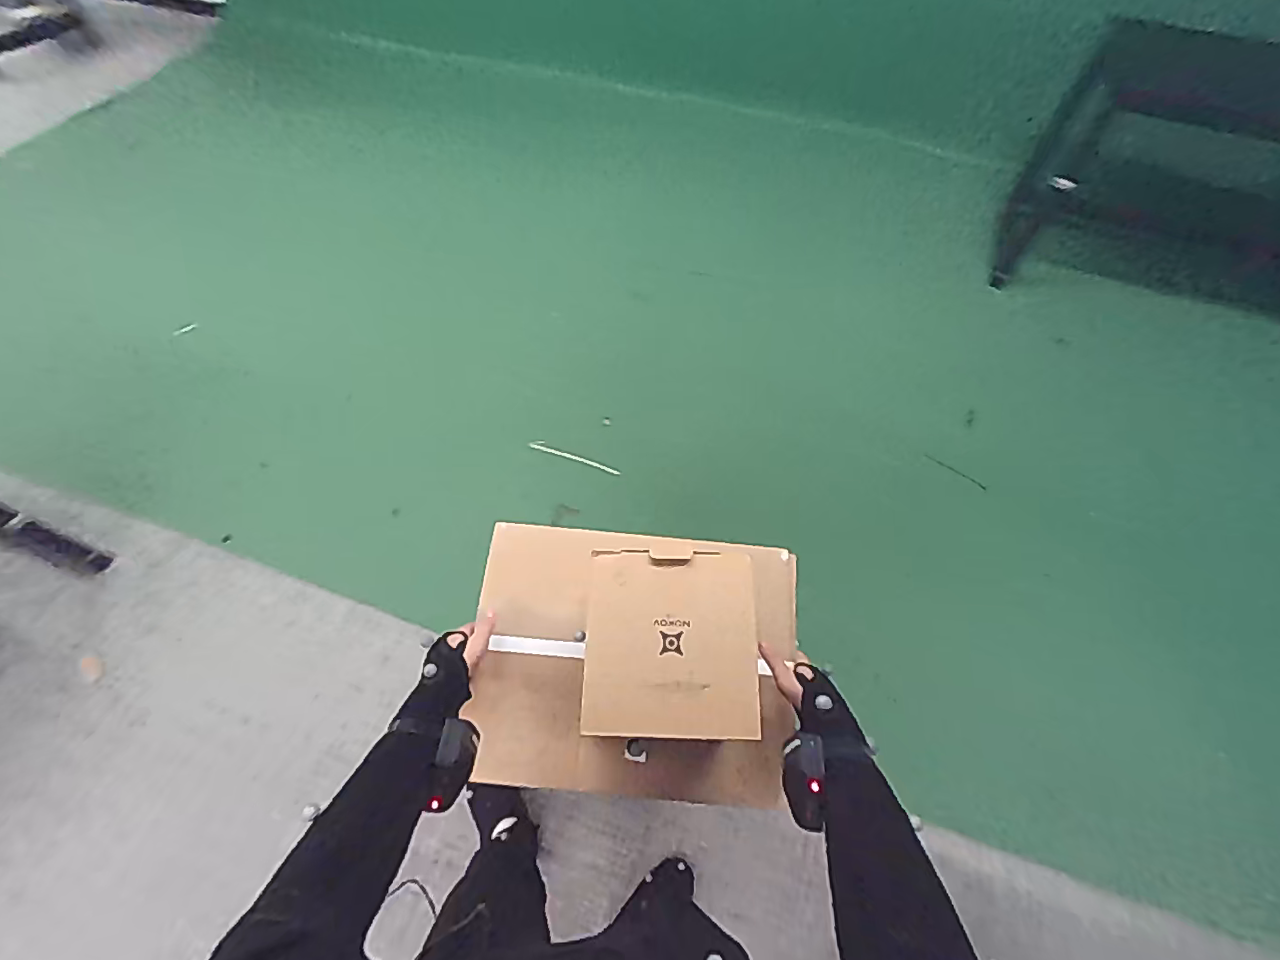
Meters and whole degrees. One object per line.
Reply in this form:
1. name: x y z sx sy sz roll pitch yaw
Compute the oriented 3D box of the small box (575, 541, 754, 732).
1. small box: 0.022 0.176 0.591 0.168 0.176 0.179 1 68 -1
